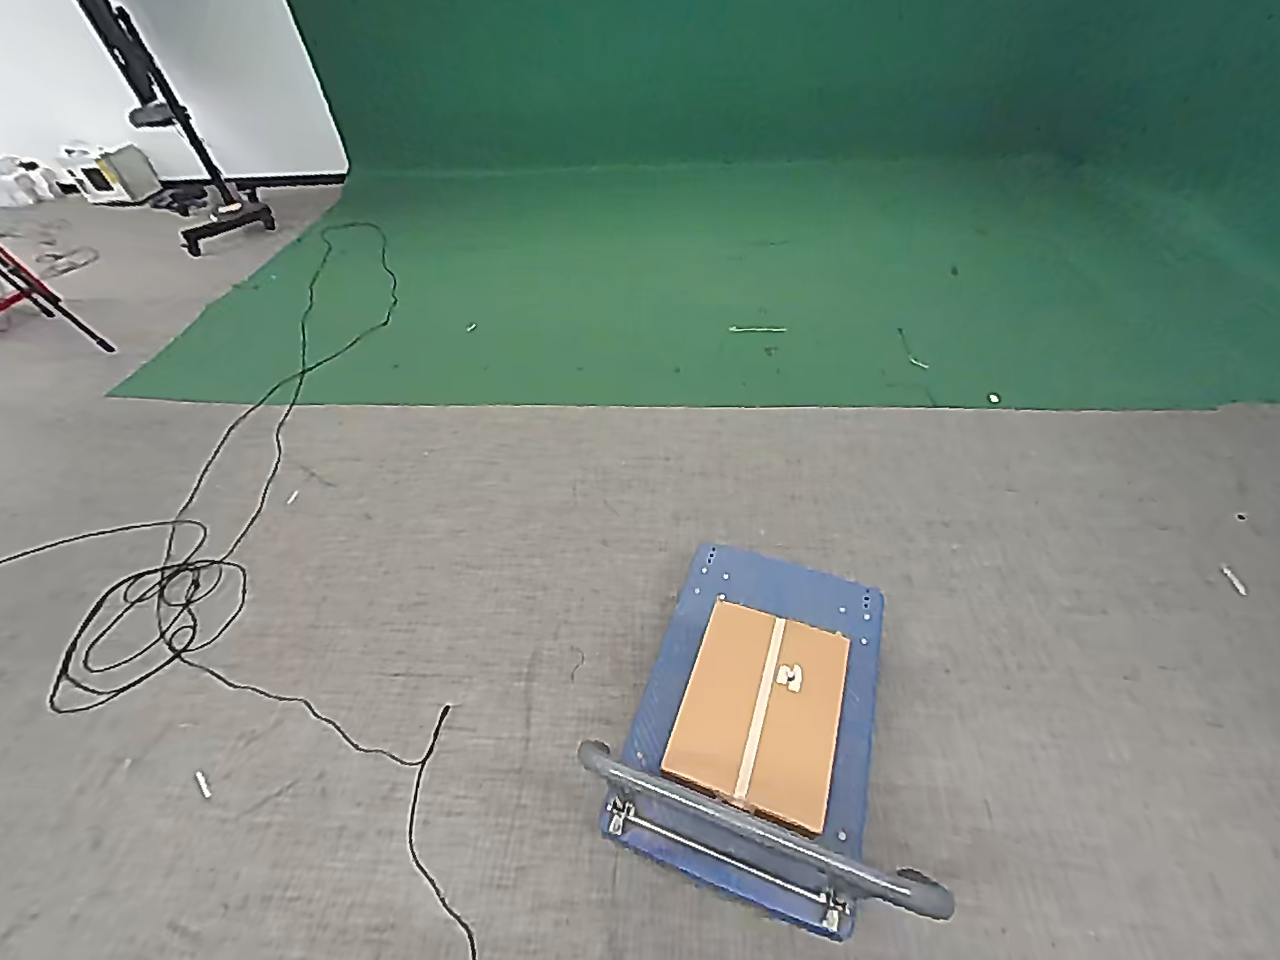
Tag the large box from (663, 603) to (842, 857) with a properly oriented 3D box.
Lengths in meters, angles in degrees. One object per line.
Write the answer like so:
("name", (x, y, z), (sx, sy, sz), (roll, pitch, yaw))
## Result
("large box", (0.261, 0.573, 1.261), (0.320, 0.320, 0.408), (14, 48, 16))
